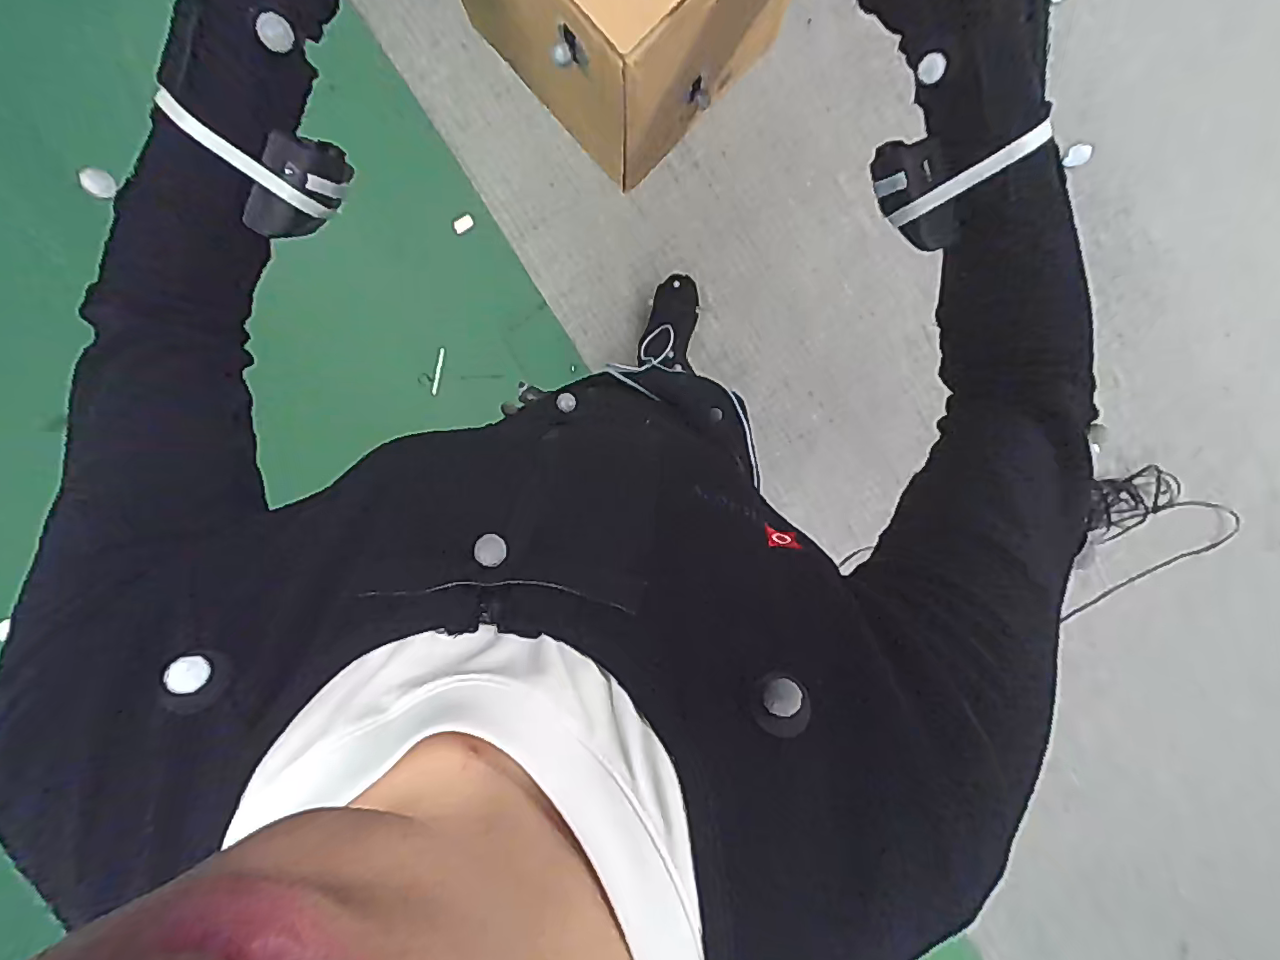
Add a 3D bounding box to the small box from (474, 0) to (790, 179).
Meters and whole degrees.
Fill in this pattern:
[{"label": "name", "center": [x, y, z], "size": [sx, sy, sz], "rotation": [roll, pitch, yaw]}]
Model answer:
[{"label": "small box", "center": [-0.009, -0.341, 0.345], "size": [0.168, 0.176, 0.179], "rotation": [-43, 97, 3]}]
